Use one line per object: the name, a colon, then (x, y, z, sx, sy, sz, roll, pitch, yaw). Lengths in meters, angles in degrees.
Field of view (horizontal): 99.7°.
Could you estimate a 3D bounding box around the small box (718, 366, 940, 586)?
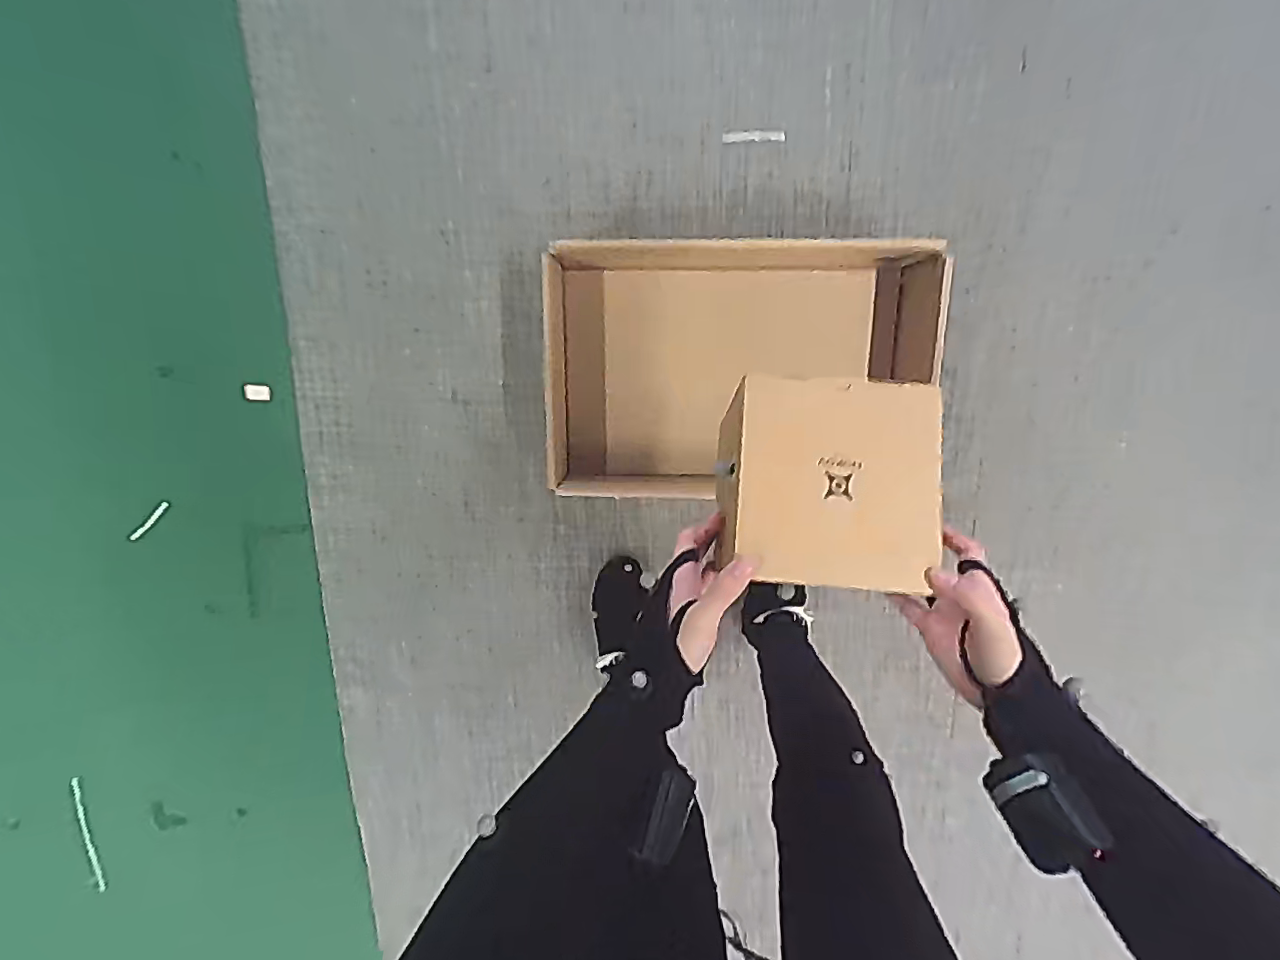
small box: (0.169, 0.007, 0.527, 0.168, 0.176, 0.179, 4, 79, 4)
